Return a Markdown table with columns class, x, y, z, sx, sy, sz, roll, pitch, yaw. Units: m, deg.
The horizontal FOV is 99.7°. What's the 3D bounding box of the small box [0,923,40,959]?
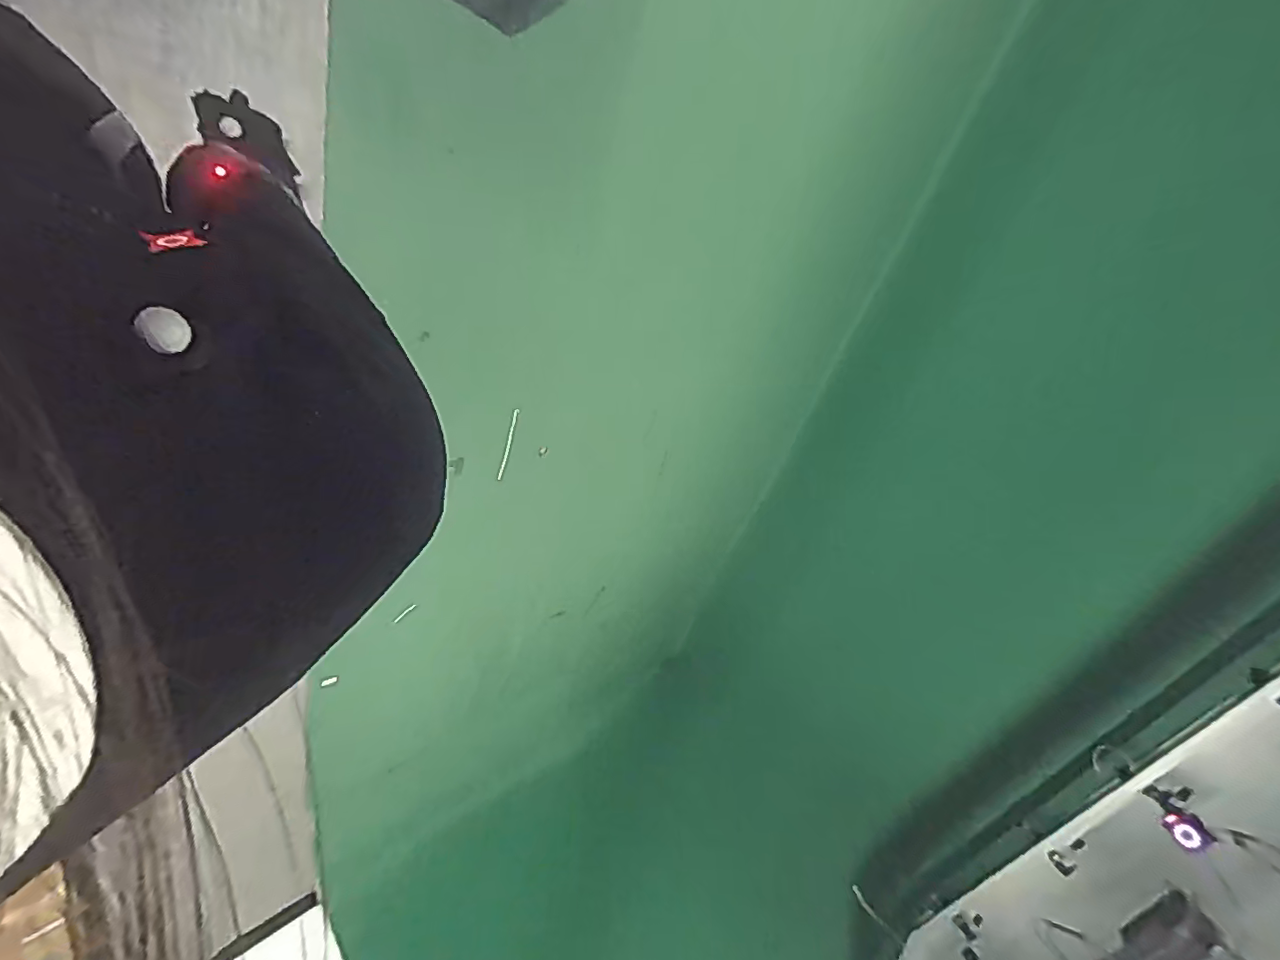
| class | x | y | z | sx | sy | sz | roll | pitch | yaw |
| --- | --- | --- | --- | --- | --- | --- | --- | --- | --- |
| small box | -1.622 | 1.263 | 1.333 | 0.179 | 0.176 | 0.168 | -16 | 135 | -45 |
